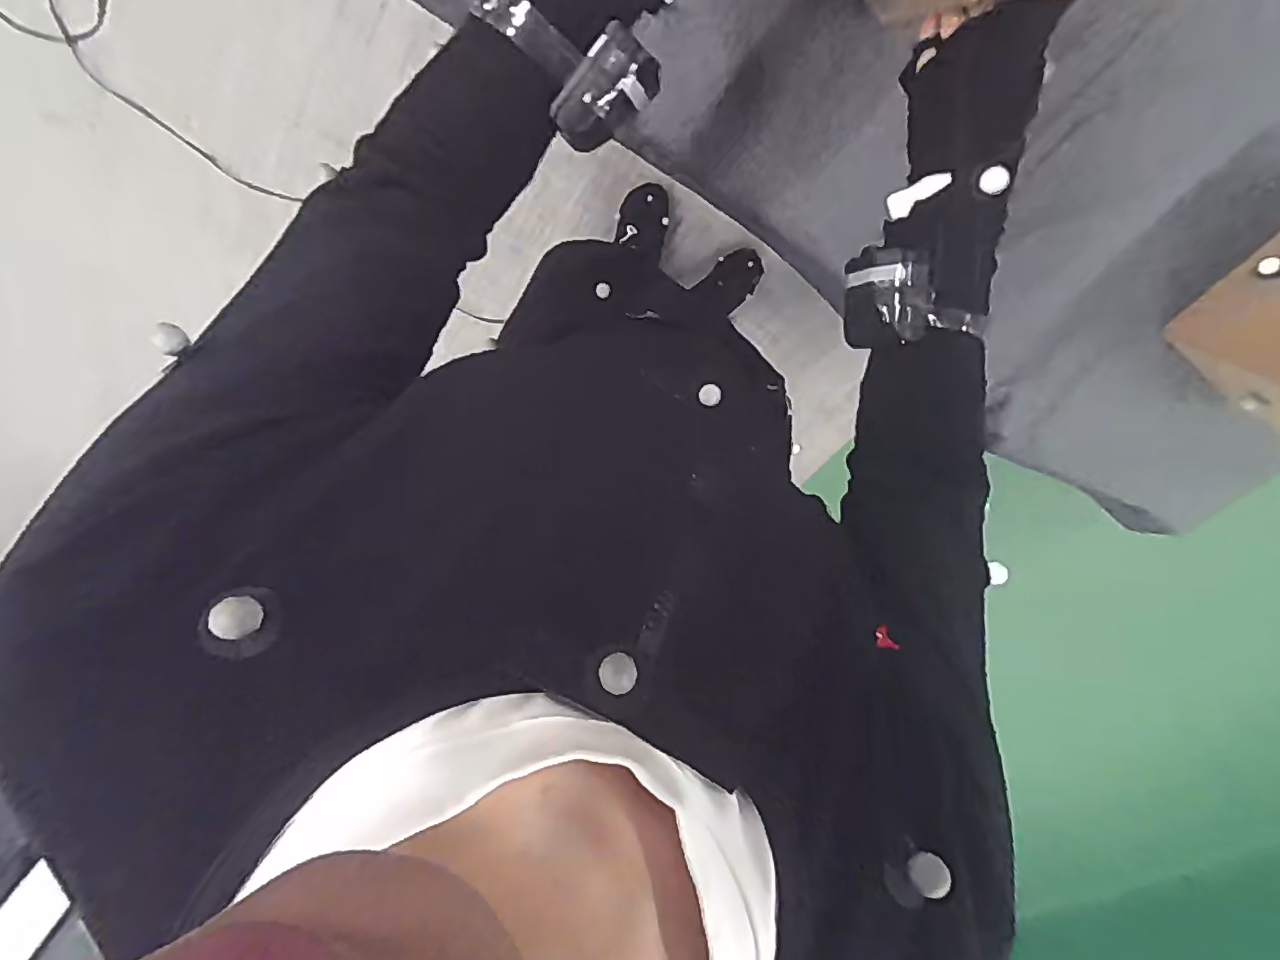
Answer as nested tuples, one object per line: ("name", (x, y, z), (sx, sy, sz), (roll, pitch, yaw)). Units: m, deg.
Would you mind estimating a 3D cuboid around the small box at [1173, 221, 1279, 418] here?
("small box", (0.692, -0.155, 0.528), (0.168, 0.176, 0.179), (29, 121, -16))
